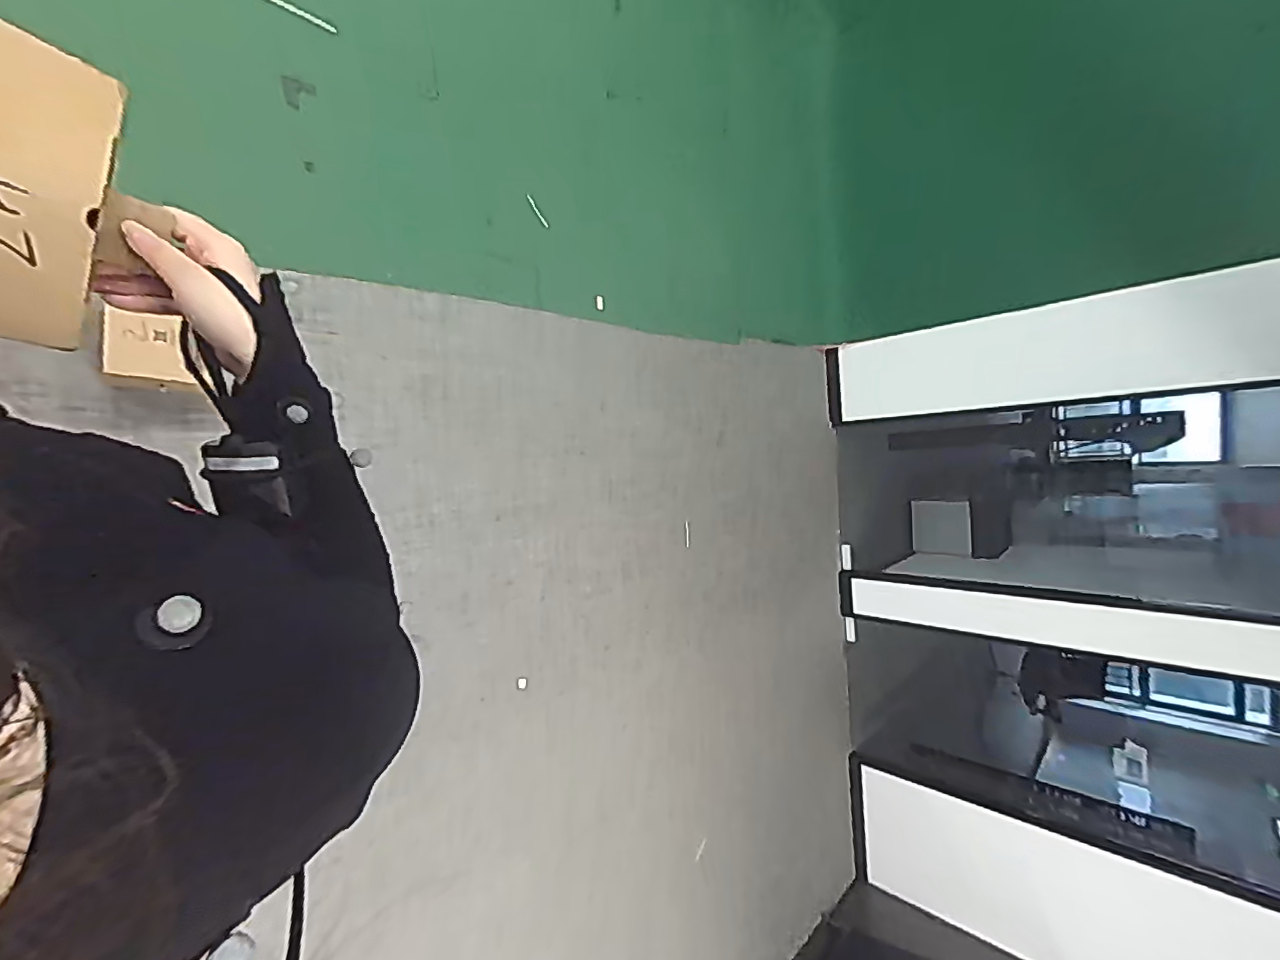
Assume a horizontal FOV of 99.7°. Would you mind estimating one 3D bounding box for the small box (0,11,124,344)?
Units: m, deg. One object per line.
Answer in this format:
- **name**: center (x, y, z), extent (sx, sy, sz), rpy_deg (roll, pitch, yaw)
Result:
- **small box**: center (-0.434, -0.188, 0.292), extent (0.179, 0.176, 0.168), rpy_deg (8, 101, -58)
